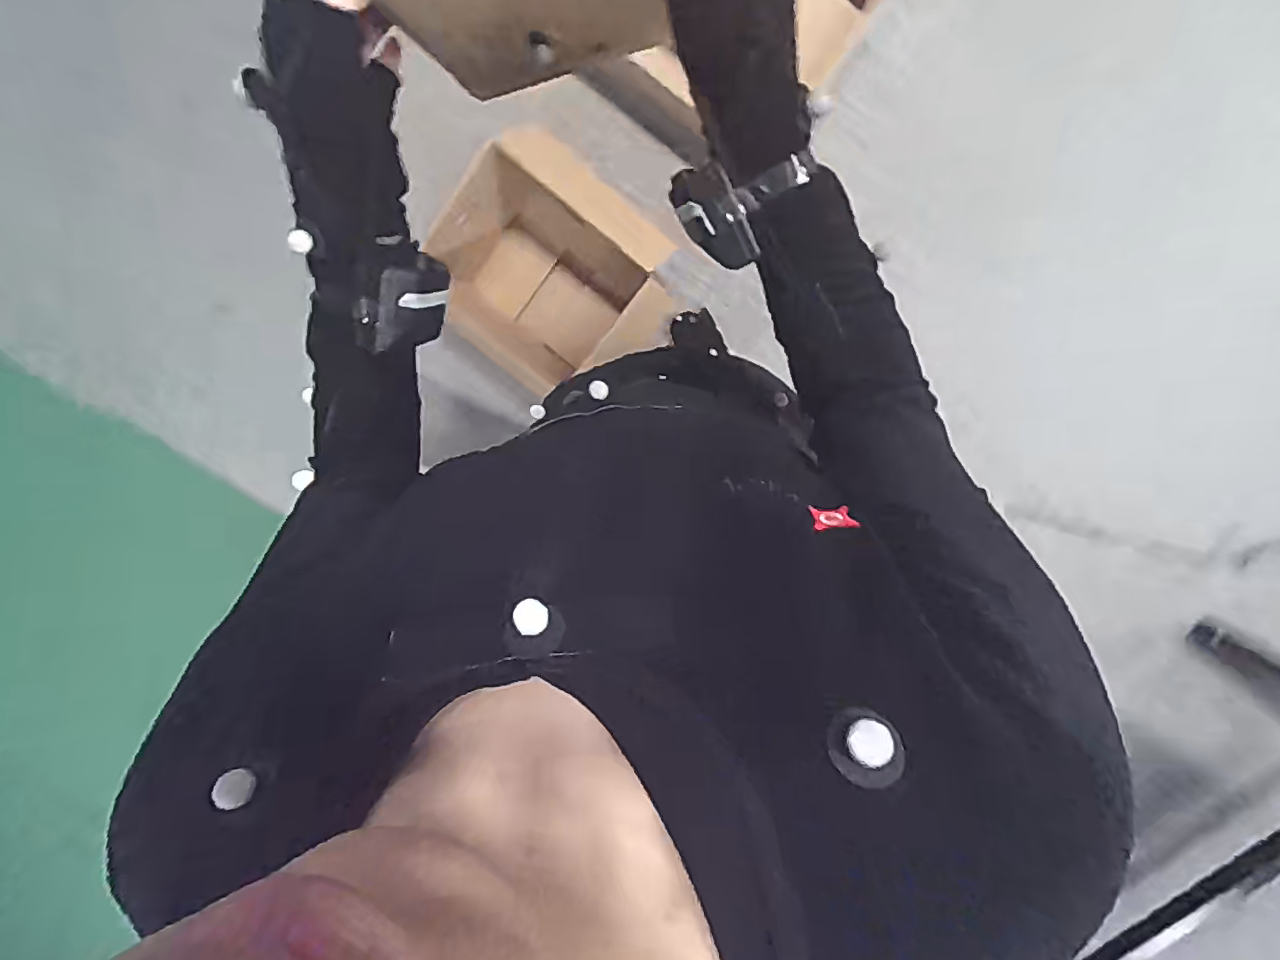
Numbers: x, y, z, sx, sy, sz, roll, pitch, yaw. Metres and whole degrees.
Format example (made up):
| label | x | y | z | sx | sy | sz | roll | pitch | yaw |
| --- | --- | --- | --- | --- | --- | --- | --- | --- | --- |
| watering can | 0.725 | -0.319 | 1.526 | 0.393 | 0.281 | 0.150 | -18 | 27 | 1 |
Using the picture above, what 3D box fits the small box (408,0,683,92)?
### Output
| label | x | y | z | sx | sy | sz | roll | pitch | yaw |
| --- | --- | --- | --- | --- | --- | --- | --- | --- | --- |
| small box | -0.071 | -0.369 | 0.311 | 0.168 | 0.176 | 0.179 | -10 | 107 | 10 |
